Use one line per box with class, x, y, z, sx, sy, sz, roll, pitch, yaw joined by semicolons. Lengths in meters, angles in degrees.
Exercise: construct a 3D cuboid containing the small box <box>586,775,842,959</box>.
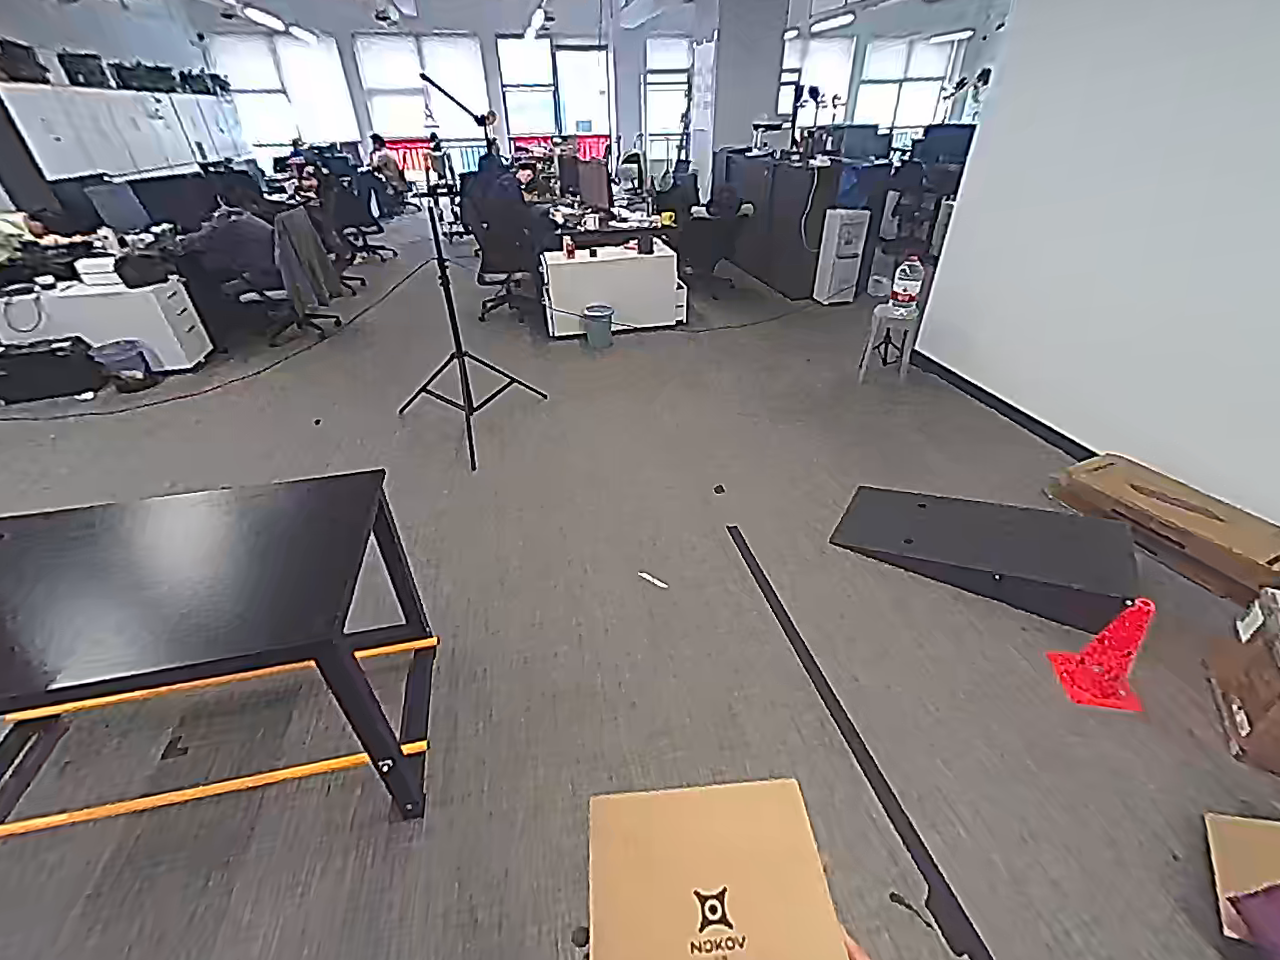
small box;0.047;0.356;0.408;0.168;0.176;0.179;-4;38;-2
